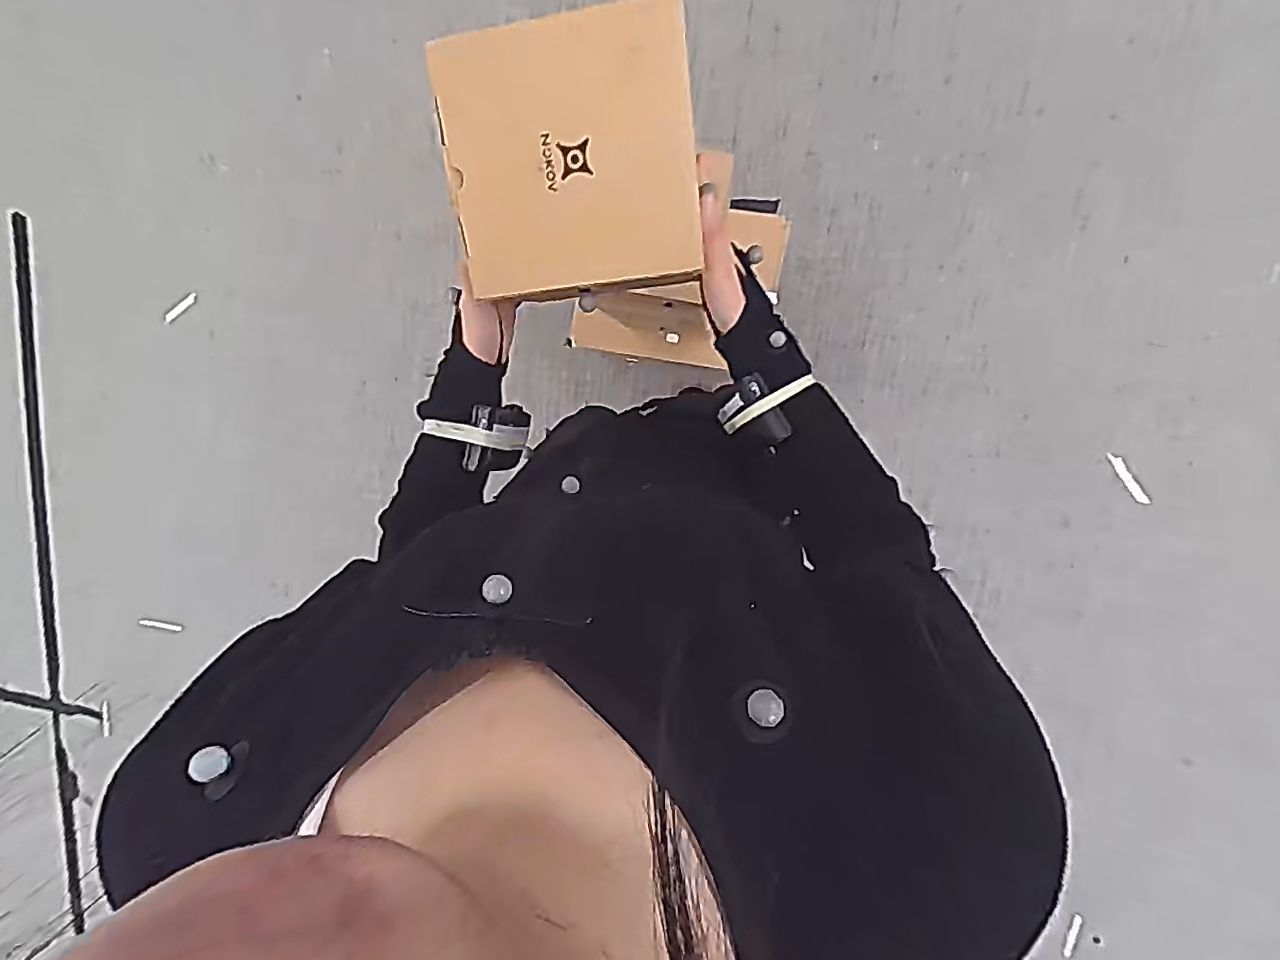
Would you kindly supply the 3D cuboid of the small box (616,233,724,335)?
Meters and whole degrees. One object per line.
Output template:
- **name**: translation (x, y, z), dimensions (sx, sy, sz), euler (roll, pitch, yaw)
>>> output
- **small box**: translation (0.060, -0.372, 1.028), dimensions (0.179, 0.176, 0.168), euler (8, 102, 5)

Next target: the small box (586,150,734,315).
- **small box**: translation (0.017, -0.317, 0.706), dimensions (0.179, 0.176, 0.168), euler (12, 101, 5)

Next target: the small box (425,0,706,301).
- **small box**: translation (-0.041, -0.245, 0.446), dimensions (0.179, 0.176, 0.168), euler (-5, 108, 8)
